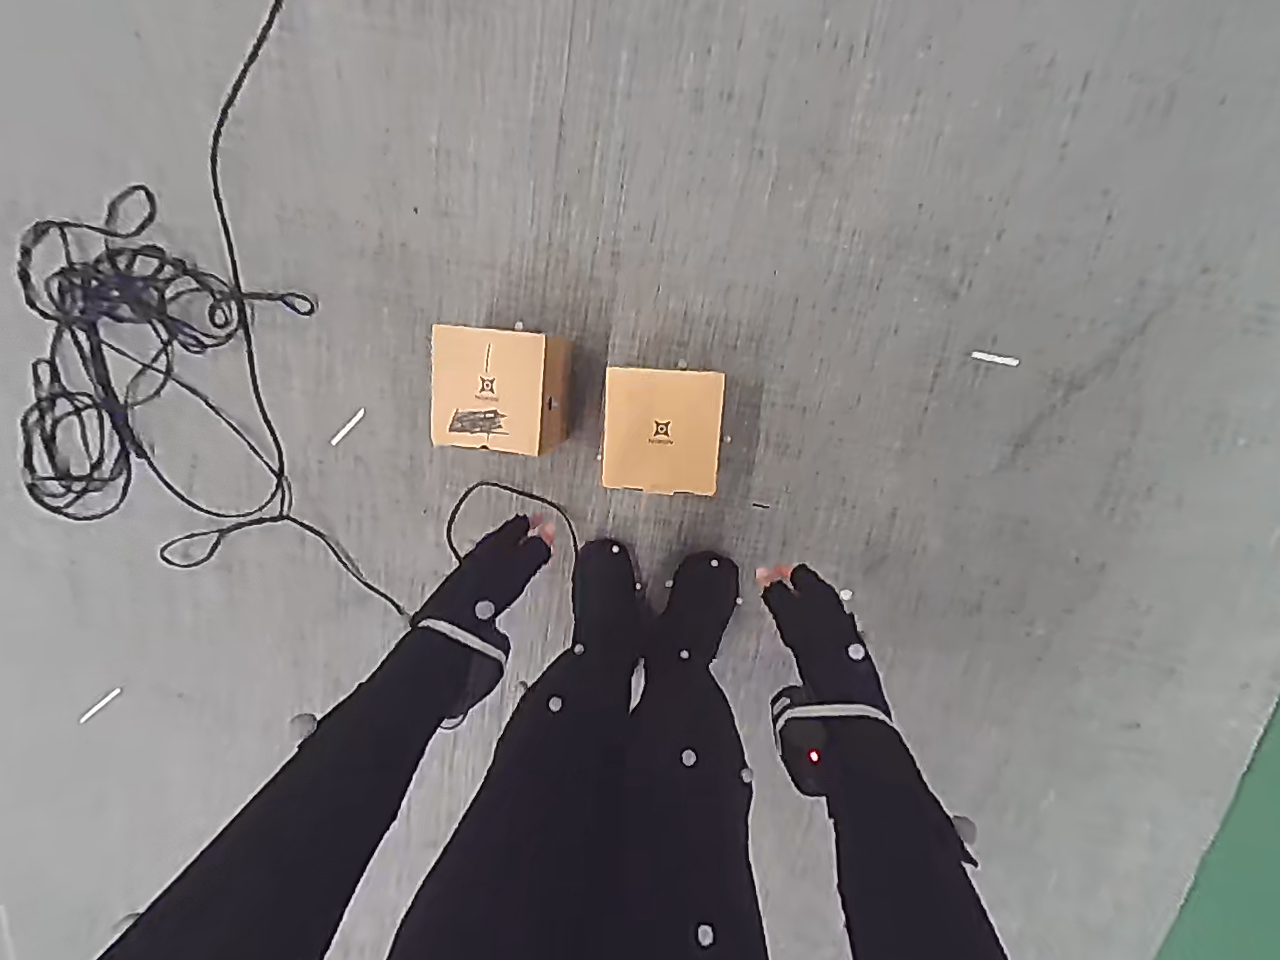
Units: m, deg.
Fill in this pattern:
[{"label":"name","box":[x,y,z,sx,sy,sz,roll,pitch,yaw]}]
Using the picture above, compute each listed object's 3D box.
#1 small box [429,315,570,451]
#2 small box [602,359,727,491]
[{"label":"small box","box":[-0.210,-0.153,0.841,0.168,0.176,0.179,7,103,4]},{"label":"small box","box":[0.039,-0.093,0.831,0.168,0.176,0.179,4,105,5]}]
